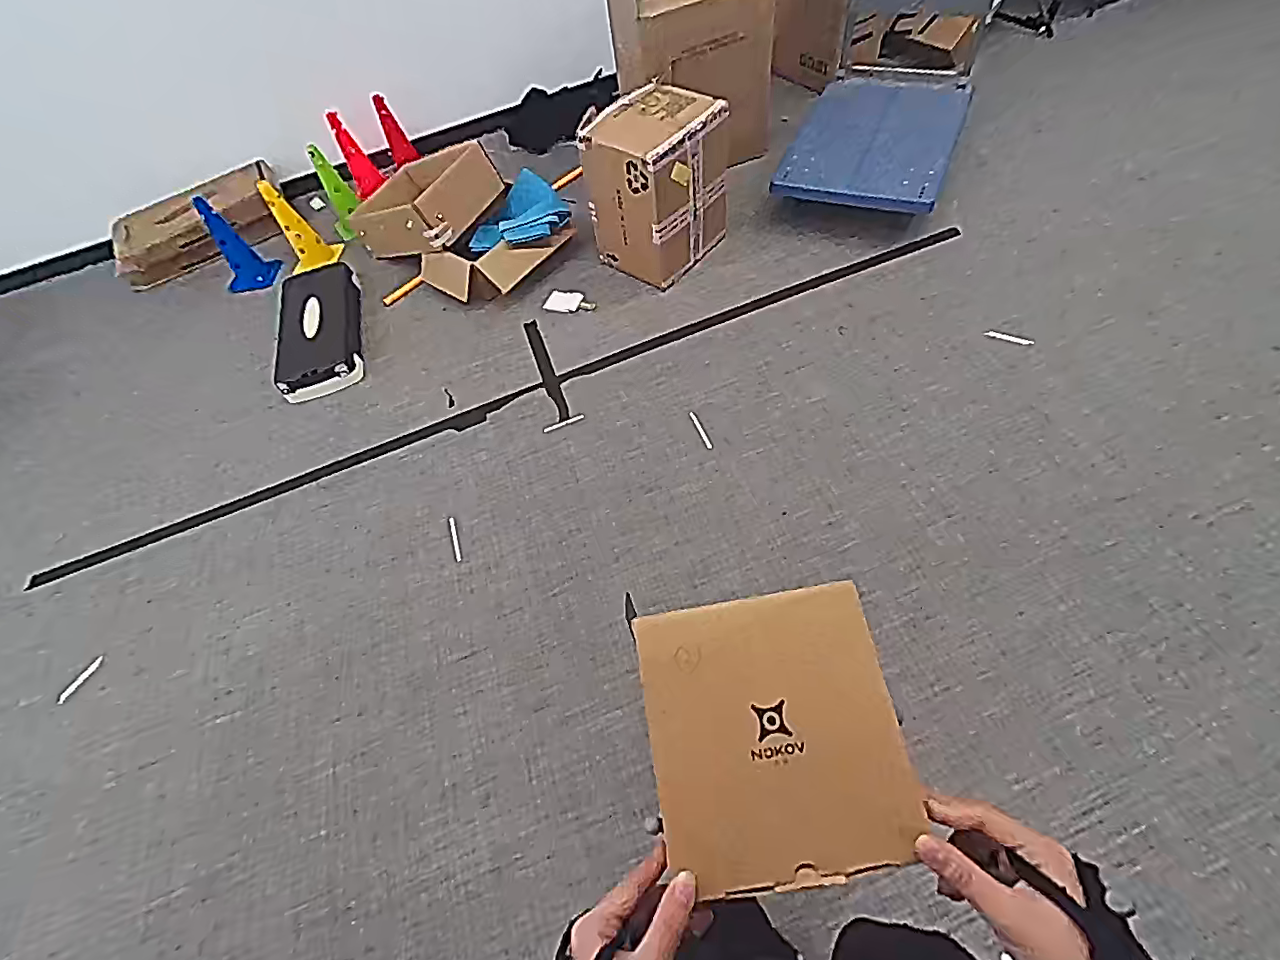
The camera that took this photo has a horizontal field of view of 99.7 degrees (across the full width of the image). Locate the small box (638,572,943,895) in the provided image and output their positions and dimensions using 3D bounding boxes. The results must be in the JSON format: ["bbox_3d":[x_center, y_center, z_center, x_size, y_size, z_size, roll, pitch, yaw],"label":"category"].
[{"bbox_3d":[0.093,0.188,0.429,0.168,0.176,0.179,-10,67,0],"label":"small box"}]
